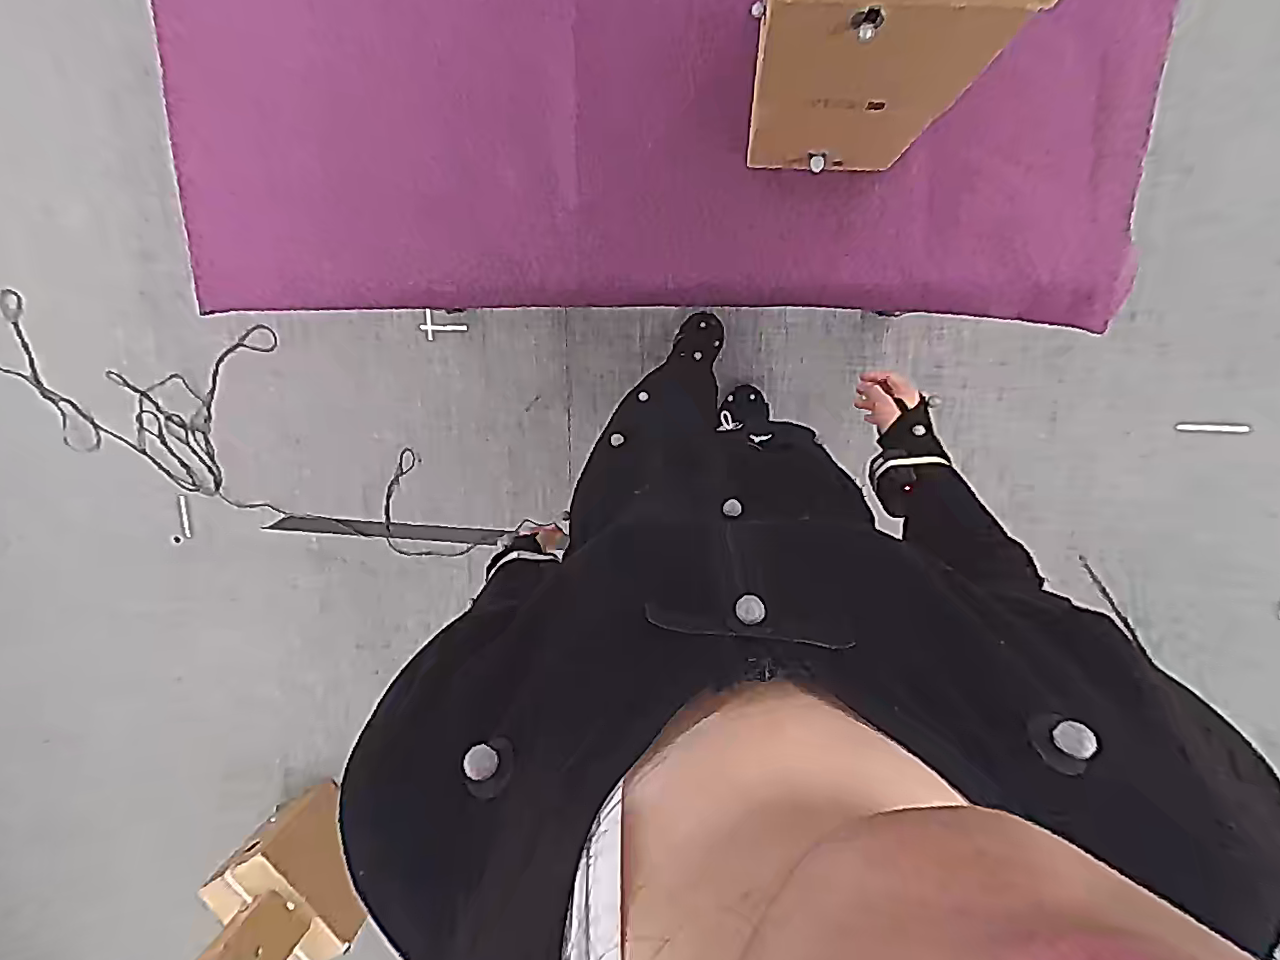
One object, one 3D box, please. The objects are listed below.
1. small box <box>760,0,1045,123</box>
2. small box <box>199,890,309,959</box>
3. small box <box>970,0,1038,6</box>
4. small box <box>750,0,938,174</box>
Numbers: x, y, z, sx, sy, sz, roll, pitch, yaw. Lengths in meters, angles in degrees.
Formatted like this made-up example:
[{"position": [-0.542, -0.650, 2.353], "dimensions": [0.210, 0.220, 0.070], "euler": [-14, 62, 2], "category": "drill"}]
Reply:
[{"position": [0.185, -0.398, 0.393], "dimensions": [0.168, 0.176, 0.179], "euler": [8, 103, 6], "category": "small box"}, {"position": [-1.115, 1.354, 1.570], "dimensions": [0.168, 0.176, 0.179], "euler": [-39, 94, 13], "category": "small box"}, {"position": [0.164, -0.356, 0.237], "dimensions": [0.168, 0.176, 0.179], "euler": [7, 103, 7], "category": "small box"}, {"position": [0.206, -0.438, 0.550], "dimensions": [0.168, 0.176, 0.179], "euler": [6, 104, 7], "category": "small box"}]
